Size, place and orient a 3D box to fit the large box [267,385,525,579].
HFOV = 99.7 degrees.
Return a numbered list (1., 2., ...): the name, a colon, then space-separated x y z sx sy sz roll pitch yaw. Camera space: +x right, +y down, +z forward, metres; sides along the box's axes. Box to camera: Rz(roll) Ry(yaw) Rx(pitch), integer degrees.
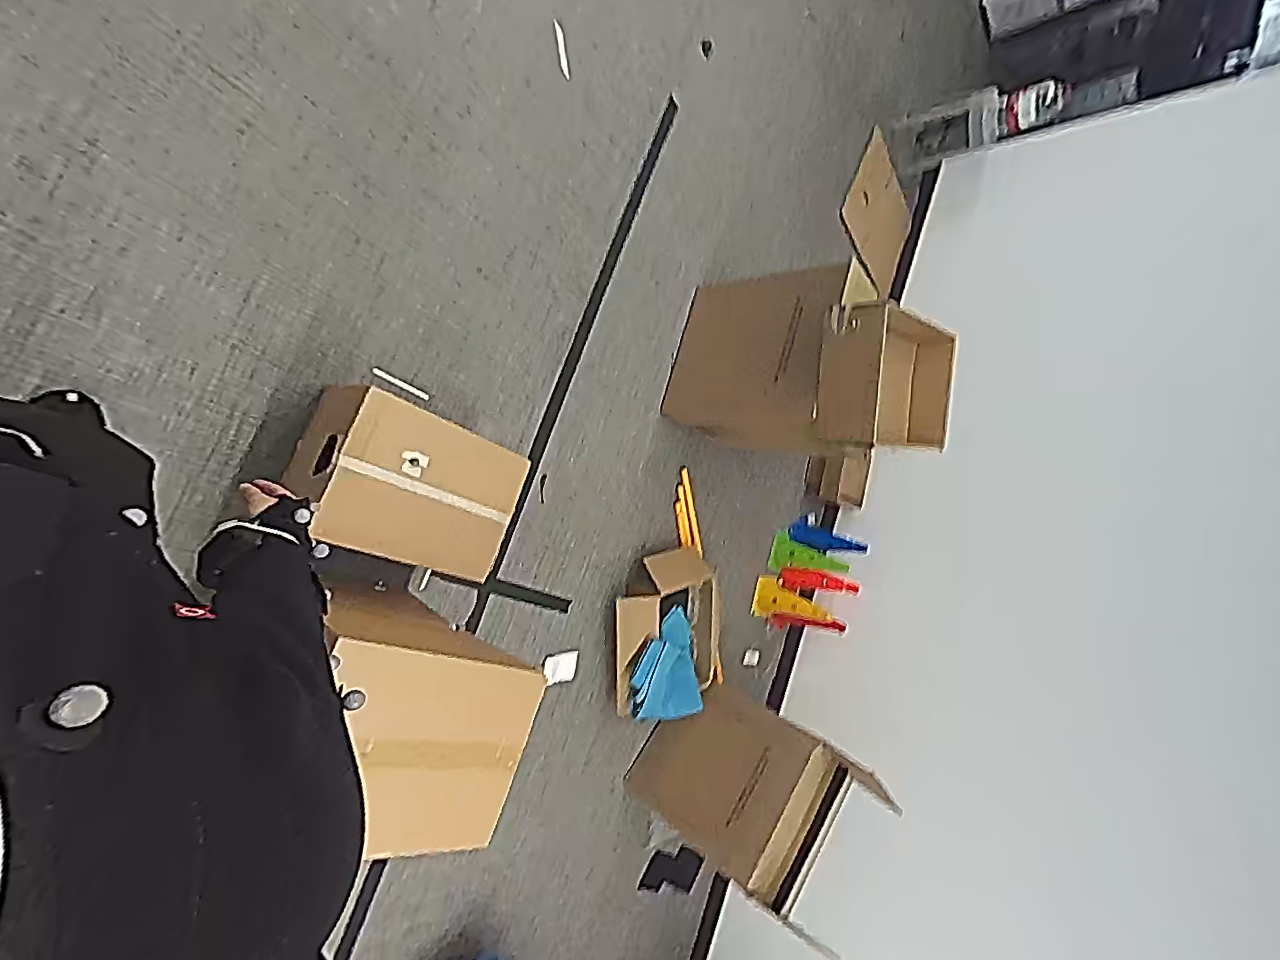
1. large box: -0.552 0.006 1.251 0.408 0.320 0.320 28 77 -43
